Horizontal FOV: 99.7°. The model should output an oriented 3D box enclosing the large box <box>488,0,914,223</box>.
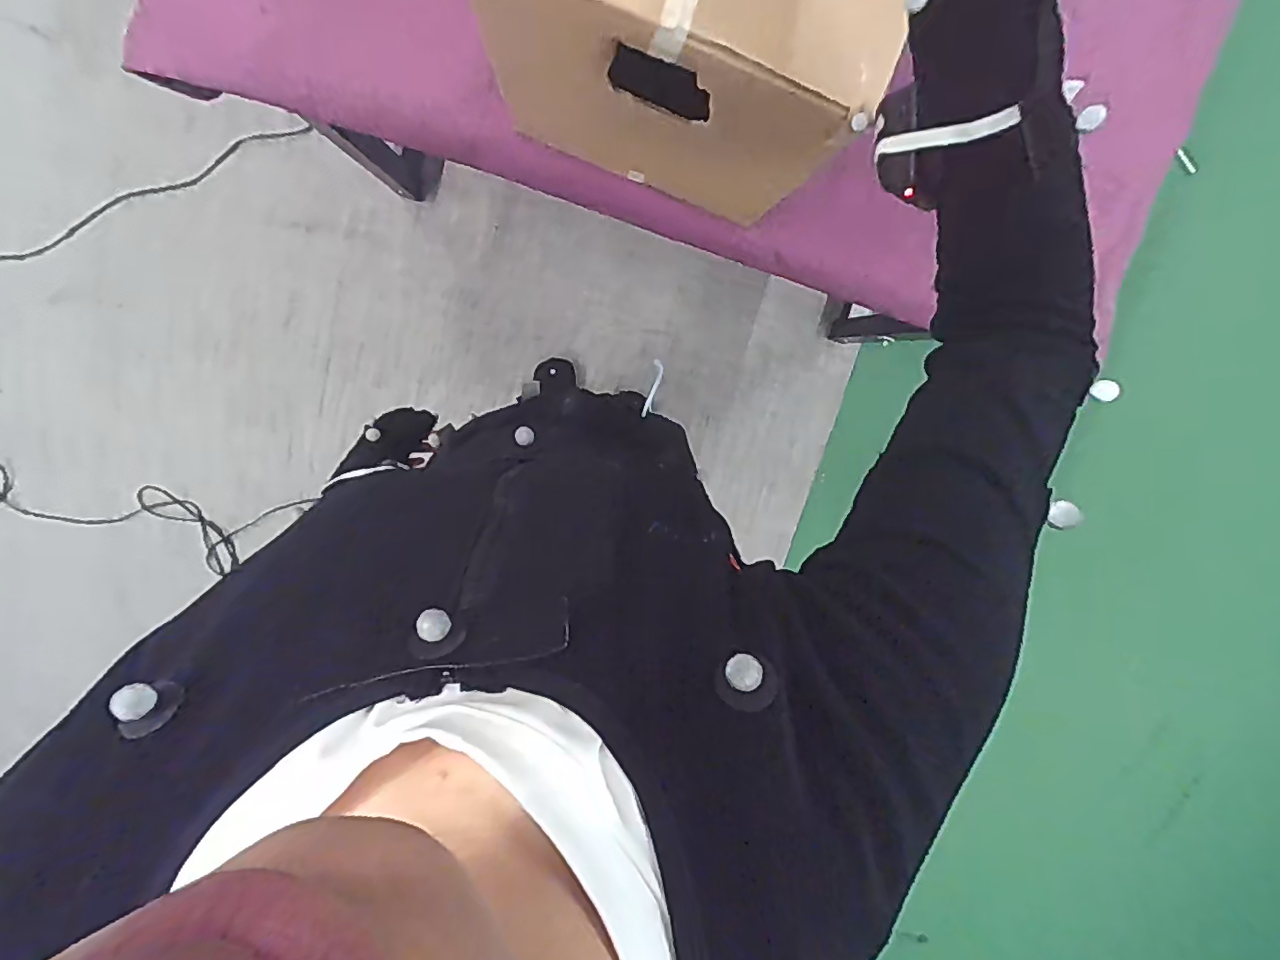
[{"bbox_3d":[0.076,-0.525,0.499,0.320,0.320,0.408,18,101,-8],"label":"large box"}]
